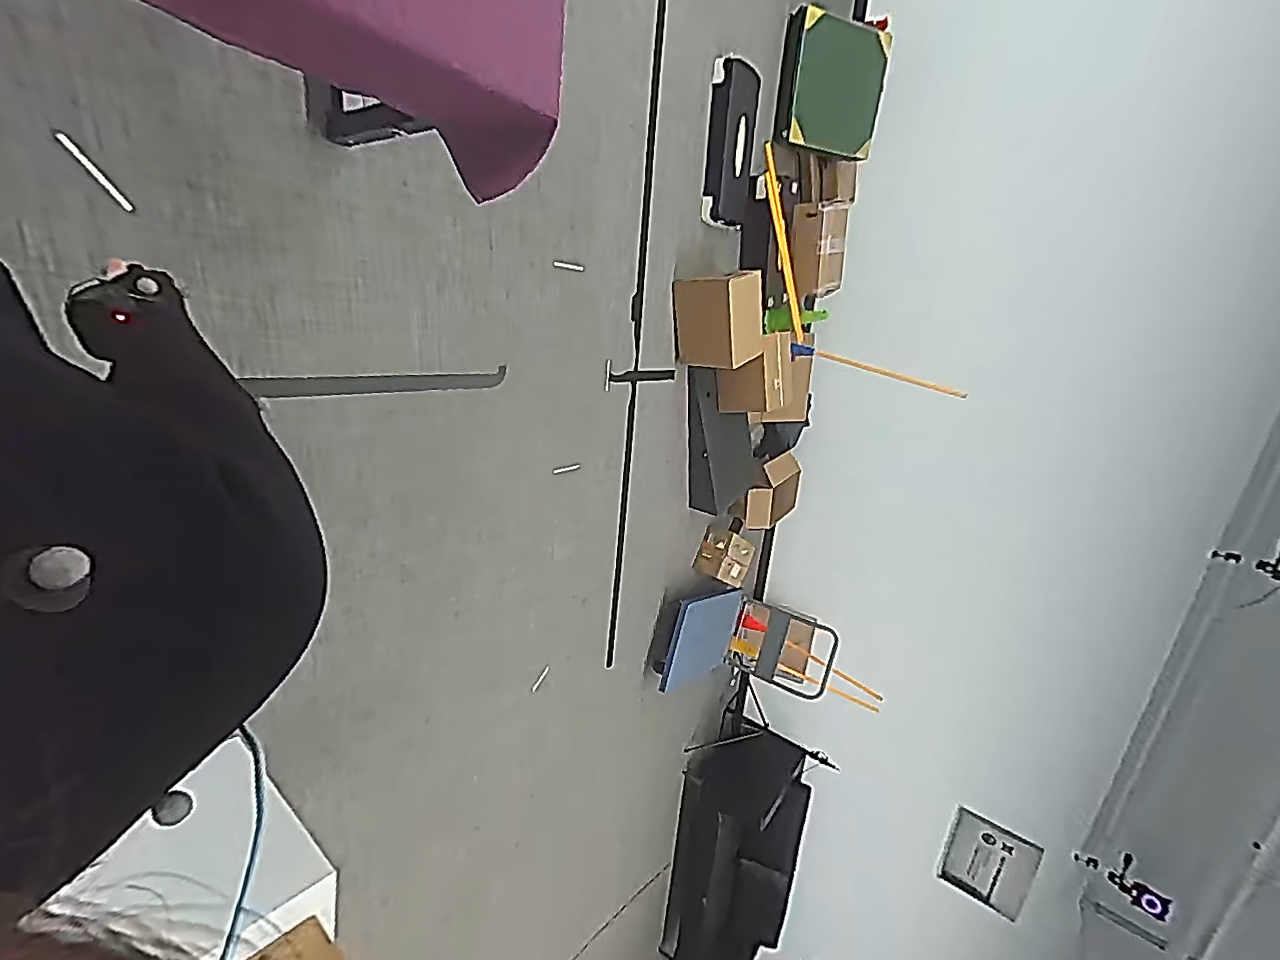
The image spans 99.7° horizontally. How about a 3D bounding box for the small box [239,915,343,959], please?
[{"bbox_3d":[-0.675,1.006,1.036,0.168,0.176,0.179,-8,112,-54],"label":"small box"}]
